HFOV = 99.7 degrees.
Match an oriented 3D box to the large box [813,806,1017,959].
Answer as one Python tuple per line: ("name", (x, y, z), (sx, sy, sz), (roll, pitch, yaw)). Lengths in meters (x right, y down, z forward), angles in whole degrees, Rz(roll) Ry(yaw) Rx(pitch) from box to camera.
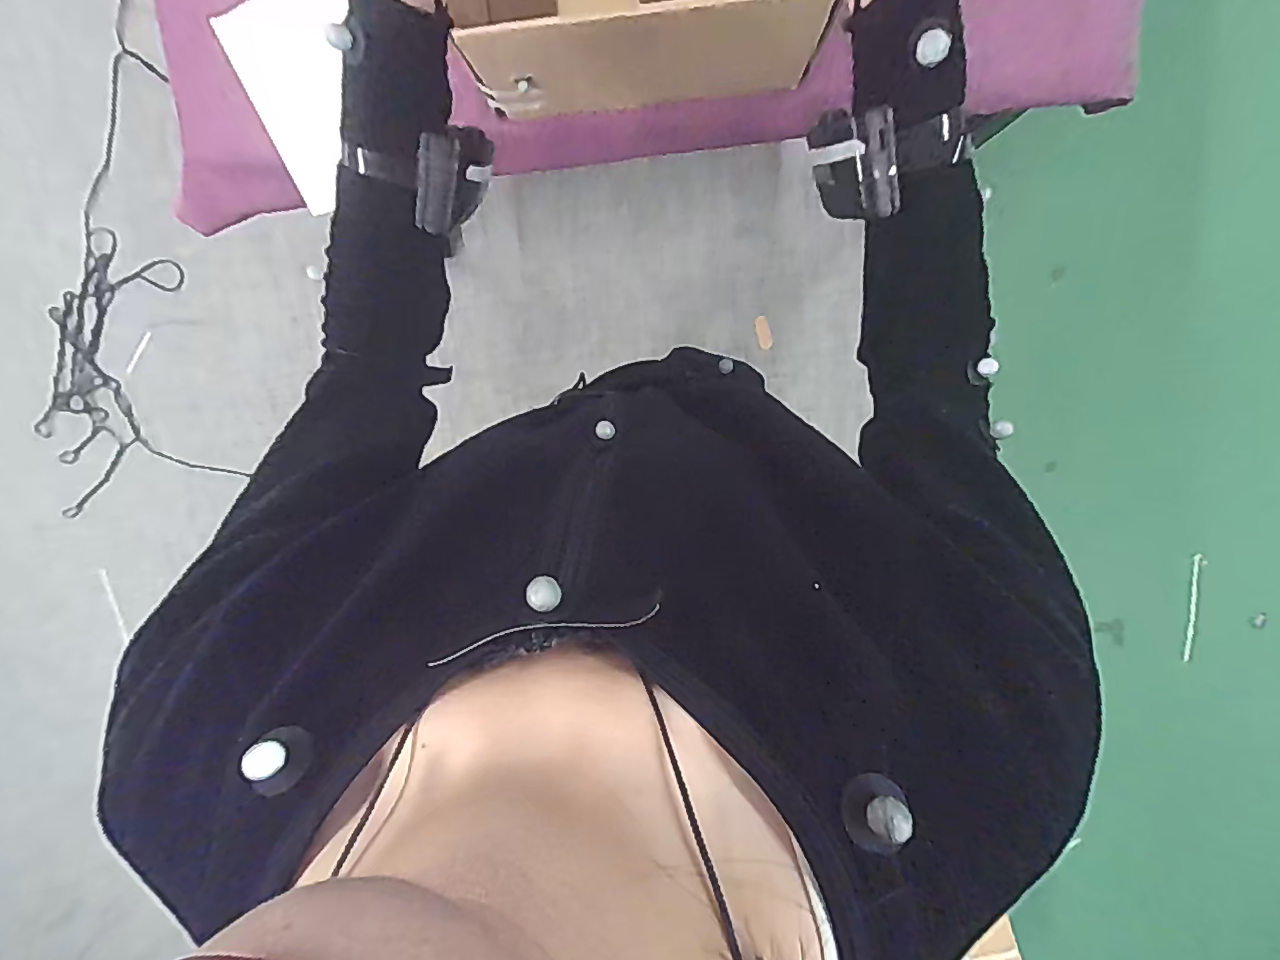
("large box", (0.766, 1.218, 1.540), (0.408, 0.320, 0.320), (-19, 99, 5))
